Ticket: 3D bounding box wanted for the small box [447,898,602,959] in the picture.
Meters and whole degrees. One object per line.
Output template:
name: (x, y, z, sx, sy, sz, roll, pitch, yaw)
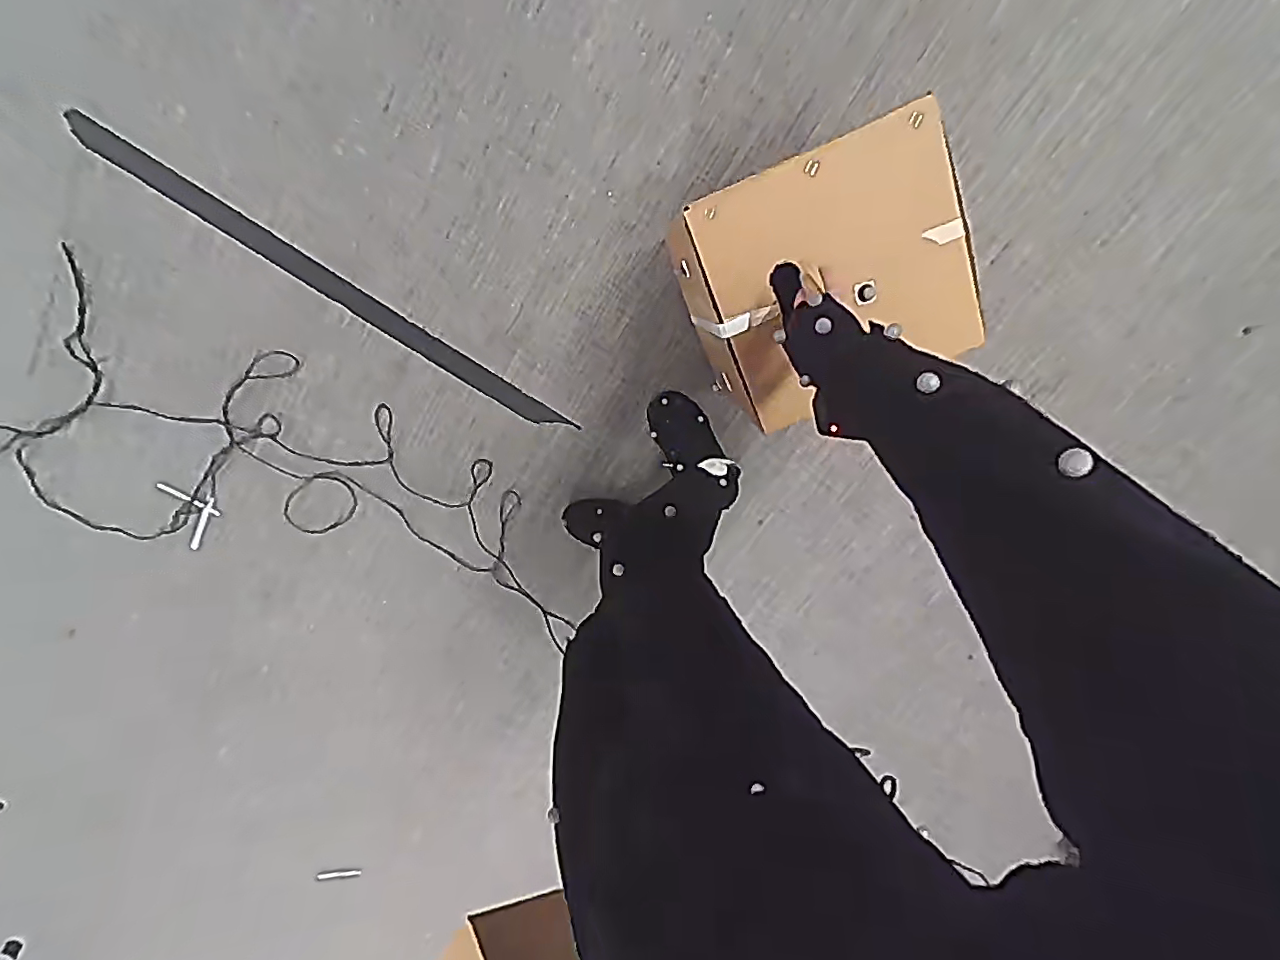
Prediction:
small box: (-0.141, 0.651, 0.646, 0.176, 0.179, 0.168, 29, 96, -45)
